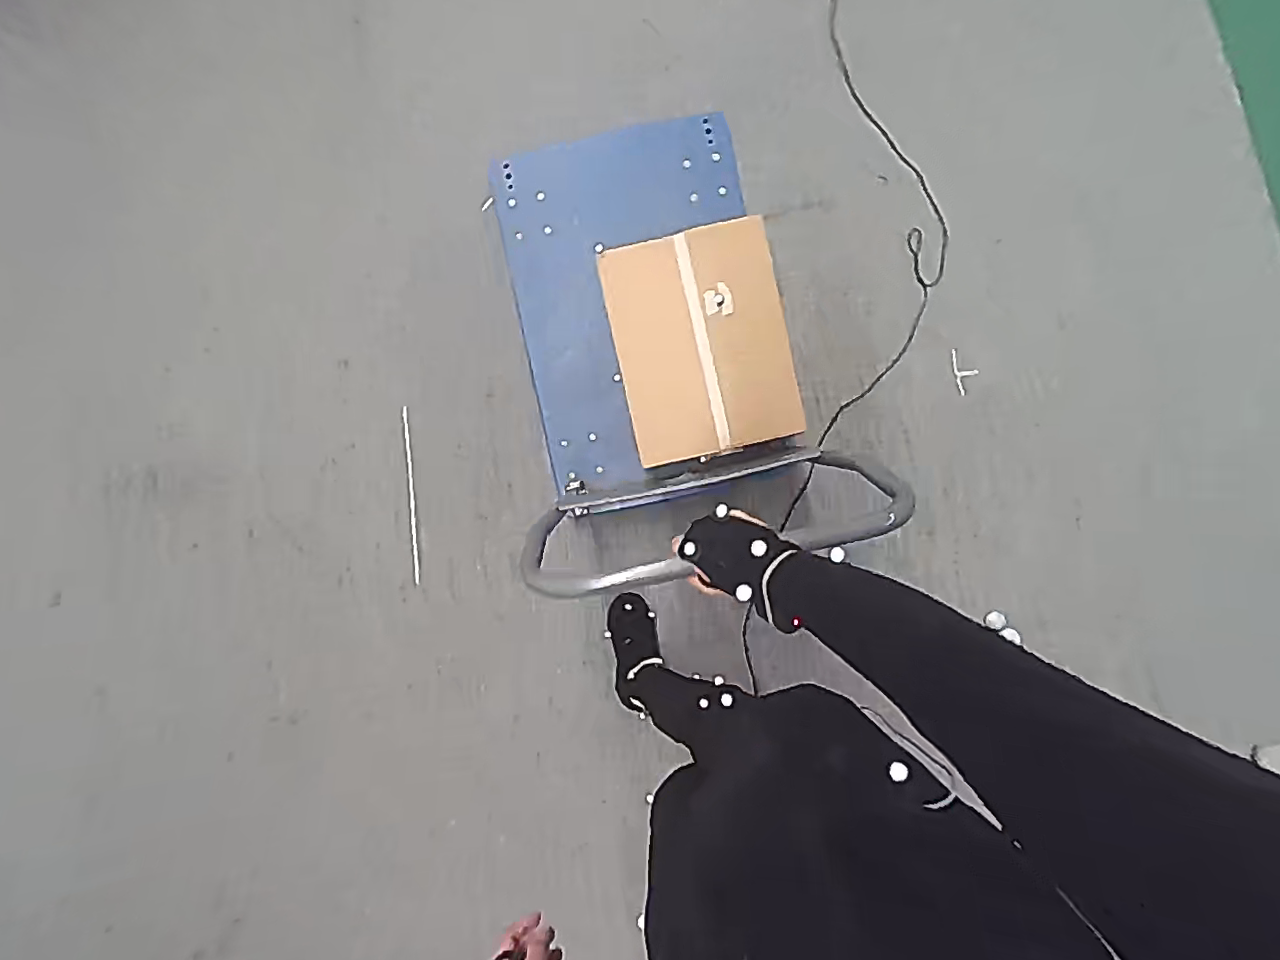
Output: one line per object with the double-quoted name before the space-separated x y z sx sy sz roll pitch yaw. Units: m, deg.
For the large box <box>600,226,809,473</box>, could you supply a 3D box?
"large box" 0.124 -0.244 1.148 0.320 0.320 0.408 -13 91 1
